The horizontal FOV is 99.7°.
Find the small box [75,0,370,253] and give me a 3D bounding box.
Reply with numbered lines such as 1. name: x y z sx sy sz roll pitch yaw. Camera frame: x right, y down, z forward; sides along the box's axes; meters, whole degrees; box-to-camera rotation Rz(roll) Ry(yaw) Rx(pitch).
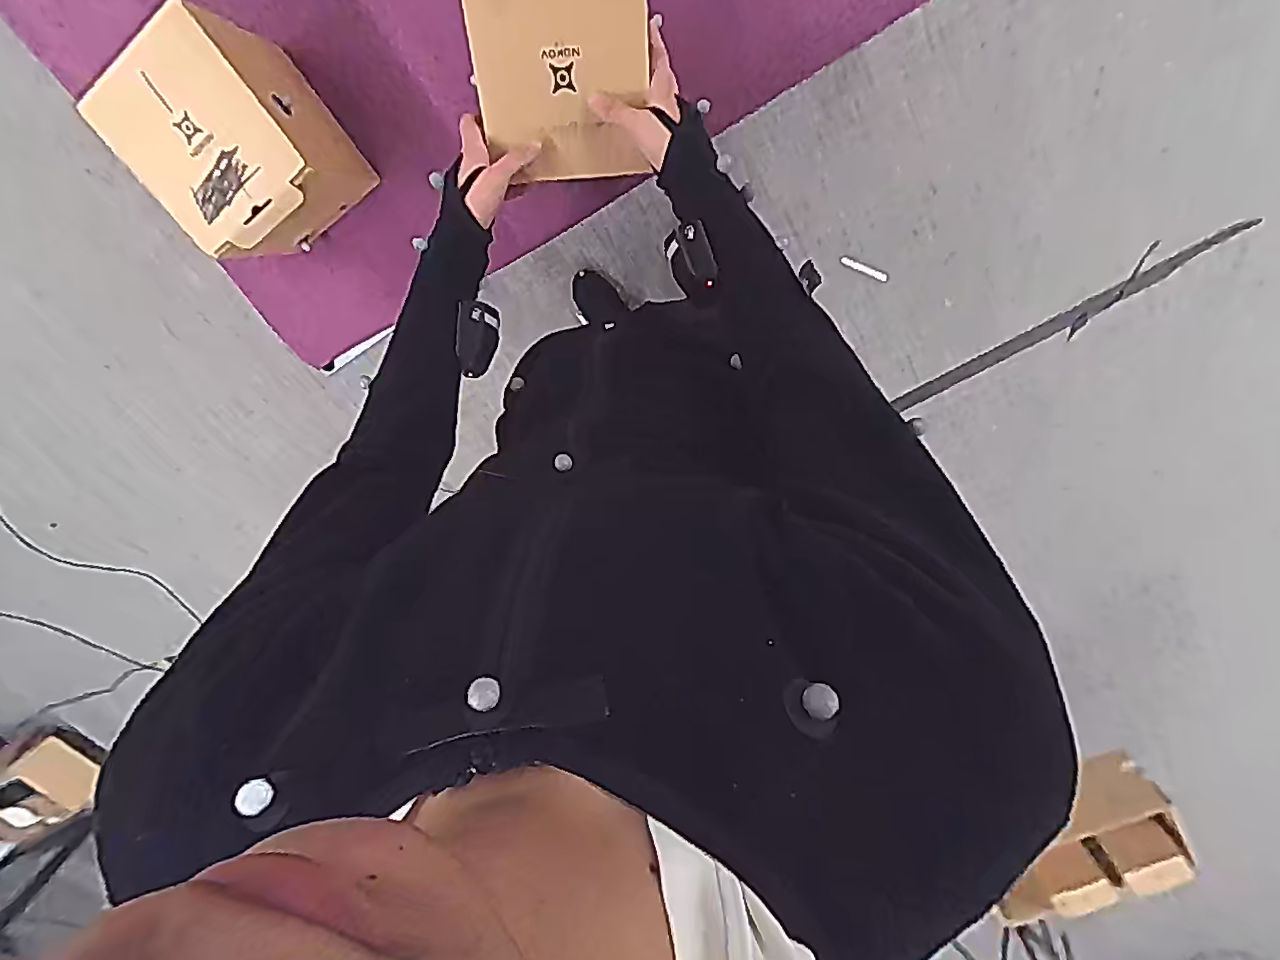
1. small box: -0.462 -0.394 0.633 0.168 0.176 0.179 -31 110 14

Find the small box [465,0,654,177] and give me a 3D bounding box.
1. small box: -0.071 -0.422 0.567 0.168 0.176 0.179 -2 121 2
